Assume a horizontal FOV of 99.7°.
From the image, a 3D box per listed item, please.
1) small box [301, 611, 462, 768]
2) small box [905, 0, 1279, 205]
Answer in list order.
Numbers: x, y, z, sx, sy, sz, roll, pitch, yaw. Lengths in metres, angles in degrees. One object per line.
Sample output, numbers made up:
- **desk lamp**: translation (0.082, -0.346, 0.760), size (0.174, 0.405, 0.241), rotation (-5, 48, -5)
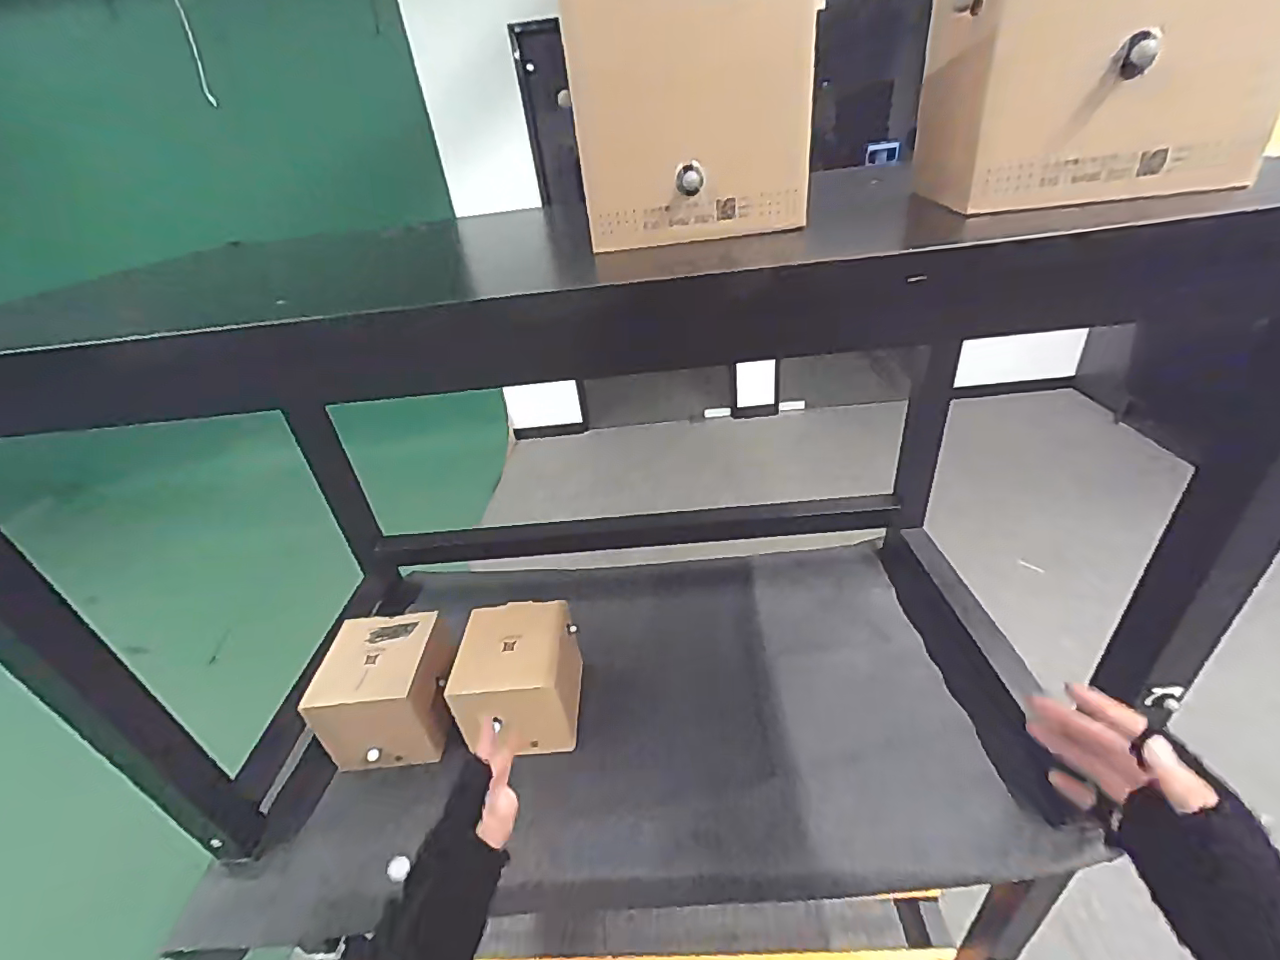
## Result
- **small box**: translation (-0.412, 0.346, 0.901), size (0.168, 0.176, 0.179), rotation (-7, 32, 2)
- **small box**: translation (0.301, -0.300, 0.383), size (0.168, 0.176, 0.179), rotation (0, 32, 13)
